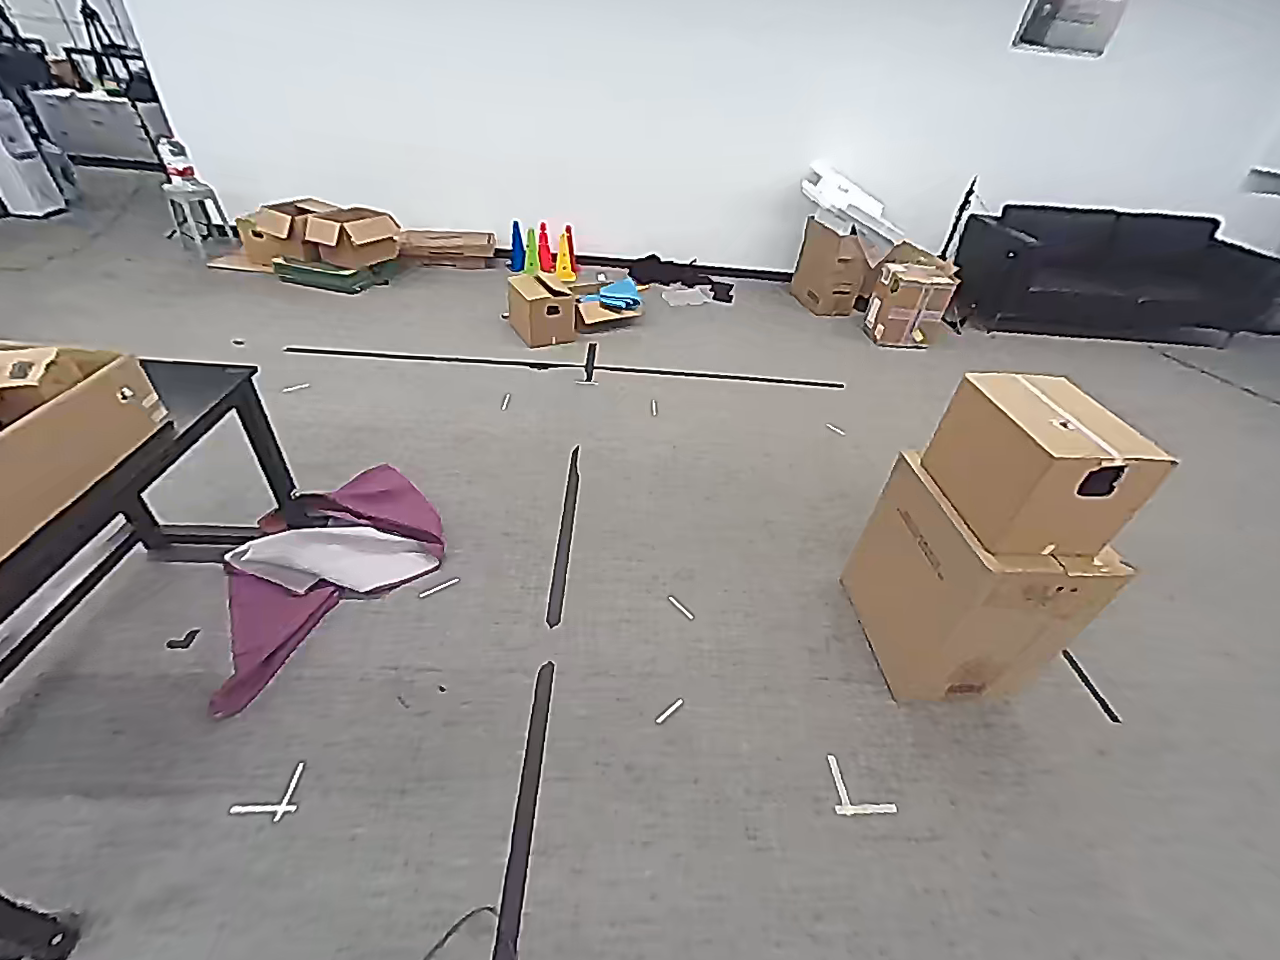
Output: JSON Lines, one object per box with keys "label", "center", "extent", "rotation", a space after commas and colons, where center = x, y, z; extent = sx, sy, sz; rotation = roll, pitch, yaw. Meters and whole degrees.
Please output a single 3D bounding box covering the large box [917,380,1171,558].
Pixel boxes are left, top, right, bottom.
{"label": "large box", "center": [1.045, -0.036, 1.473], "extent": [0.320, 0.320, 0.408], "rotation": [1, 39, -6]}
